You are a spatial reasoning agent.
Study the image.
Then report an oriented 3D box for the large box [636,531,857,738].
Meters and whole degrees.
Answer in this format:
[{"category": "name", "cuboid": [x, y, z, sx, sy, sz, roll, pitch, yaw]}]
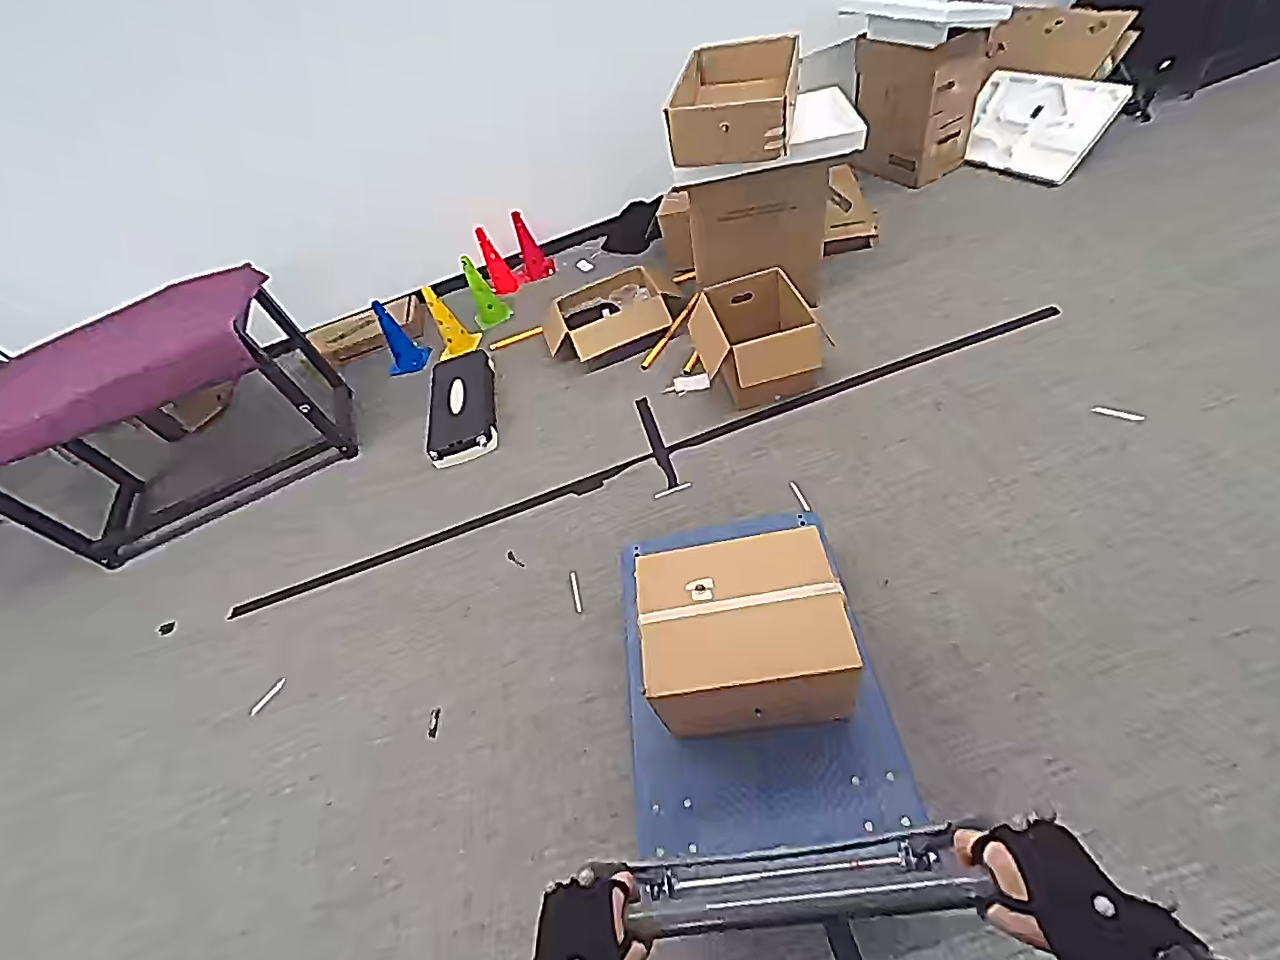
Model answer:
[{"category": "large box", "cuboid": [0.230, 0.358, 1.214, 0.408, 0.320, 0.320, -12, 48, 8]}]
